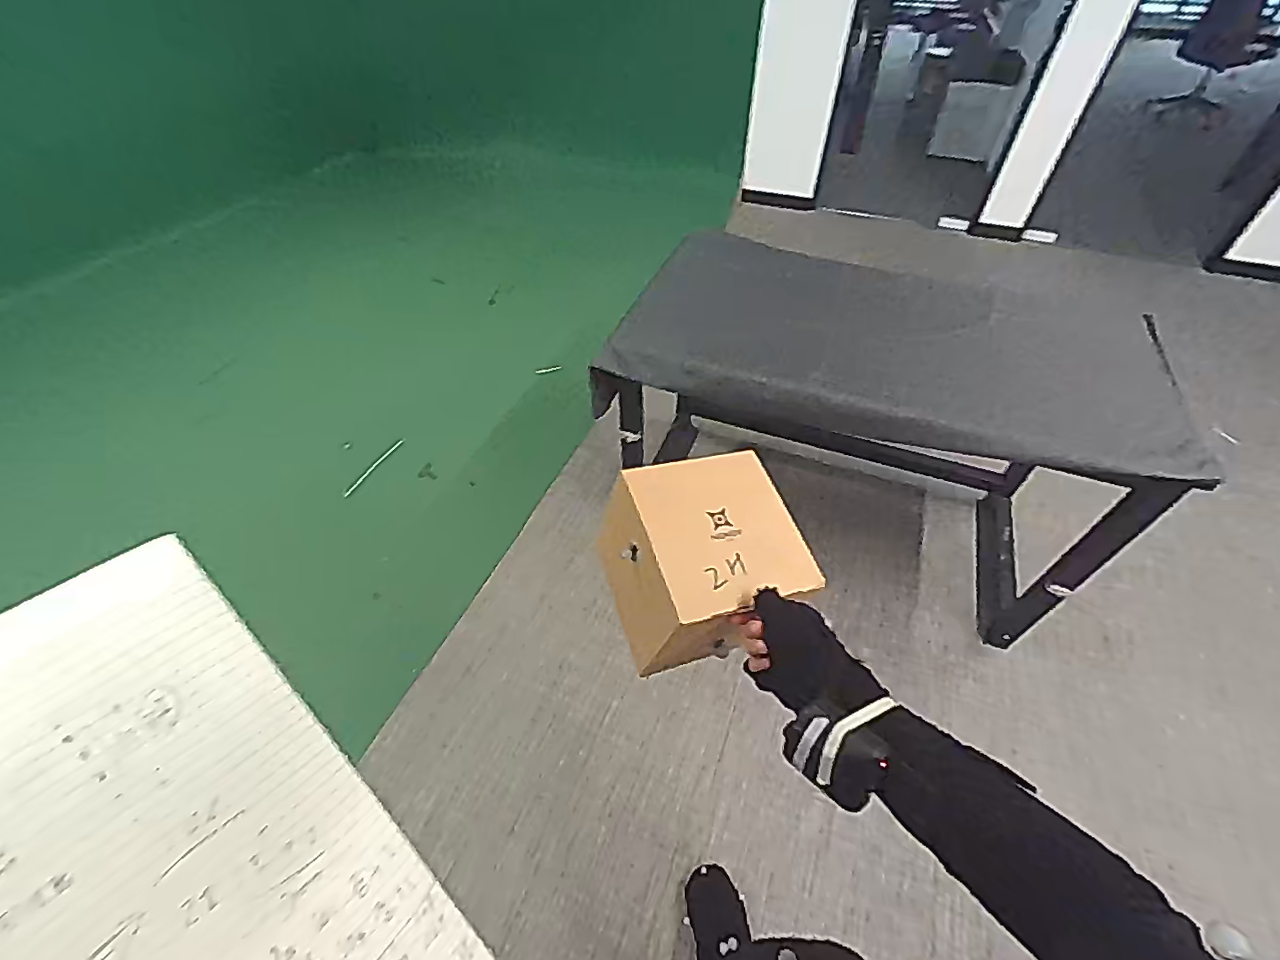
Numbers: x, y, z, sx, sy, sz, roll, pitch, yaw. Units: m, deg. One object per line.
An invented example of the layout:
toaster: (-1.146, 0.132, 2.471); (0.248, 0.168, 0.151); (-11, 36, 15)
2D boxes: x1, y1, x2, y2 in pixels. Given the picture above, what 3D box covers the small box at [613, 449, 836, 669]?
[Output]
small box: (0.078, 0.090, 0.615); (0.168, 0.176, 0.179); (-9, 58, -21)
